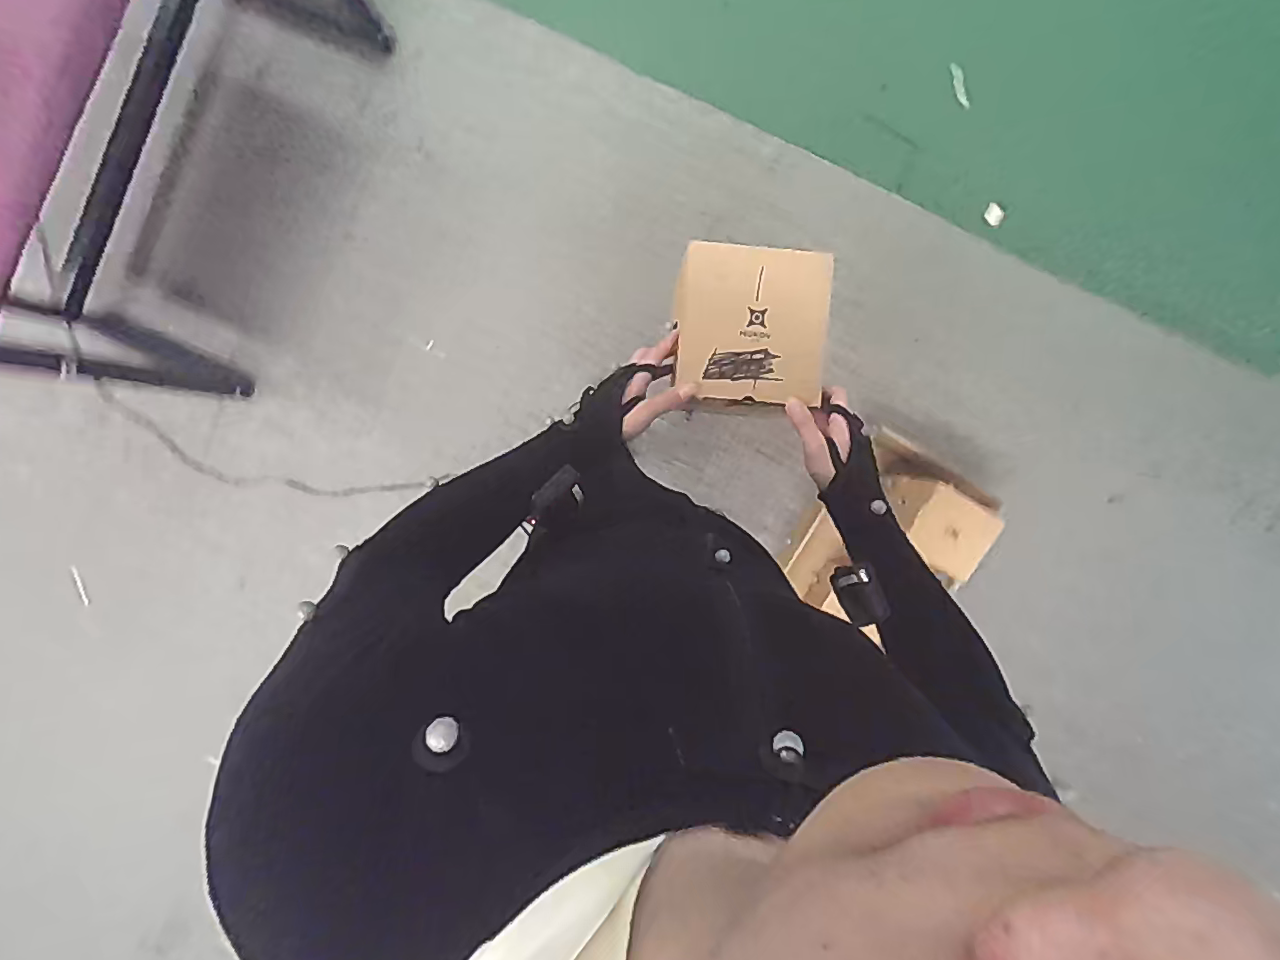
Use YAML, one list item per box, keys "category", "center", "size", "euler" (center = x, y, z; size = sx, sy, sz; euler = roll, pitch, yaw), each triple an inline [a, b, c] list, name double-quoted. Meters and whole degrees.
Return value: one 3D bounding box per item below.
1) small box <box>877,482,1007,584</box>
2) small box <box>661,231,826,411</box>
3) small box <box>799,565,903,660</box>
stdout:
- category: "small box"
  center: [0.710, 0.116, 1.290]
  size: [0.179, 0.176, 0.168]
  euler: [32, 95, 1]
- category: "small box"
  center: [0.115, -0.182, 0.671]
  size: [0.168, 0.176, 0.179]
  euler: [3, 91, -2]
- category: "small box"
  center: [0.565, 0.349, 1.471]
  size: [0.179, 0.176, 0.168]
  euler: [31, 93, 2]
